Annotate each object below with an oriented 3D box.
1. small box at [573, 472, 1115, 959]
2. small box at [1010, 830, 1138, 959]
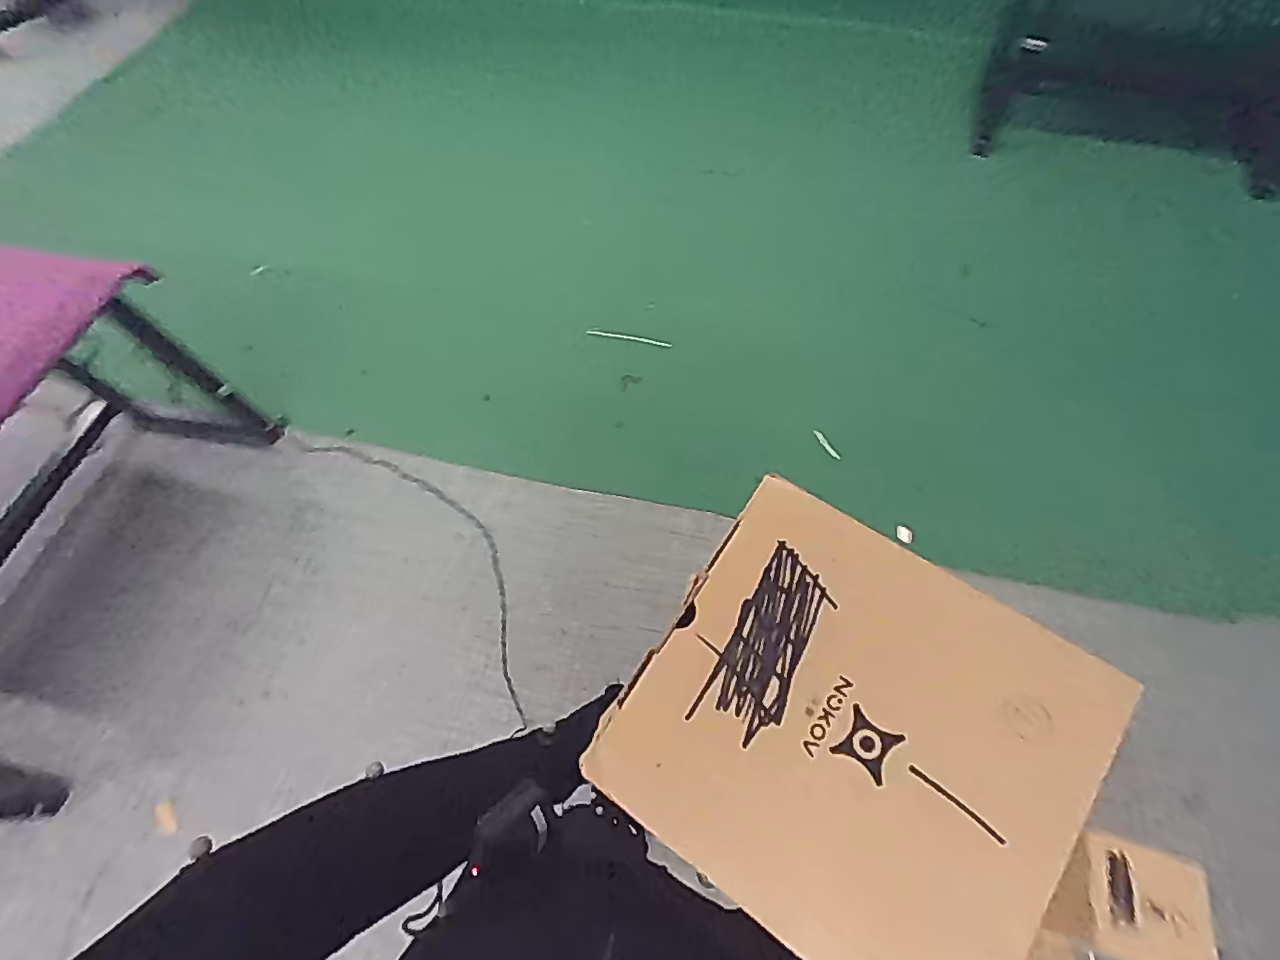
[{"bbox_3d":[0.093,0.127,0.307,0.179,0.176,0.168,31,78,15],"label":"small box"},{"bbox_3d":[0.807,0.787,1.050,0.168,0.176,0.179,14,63,8],"label":"small box"}]
